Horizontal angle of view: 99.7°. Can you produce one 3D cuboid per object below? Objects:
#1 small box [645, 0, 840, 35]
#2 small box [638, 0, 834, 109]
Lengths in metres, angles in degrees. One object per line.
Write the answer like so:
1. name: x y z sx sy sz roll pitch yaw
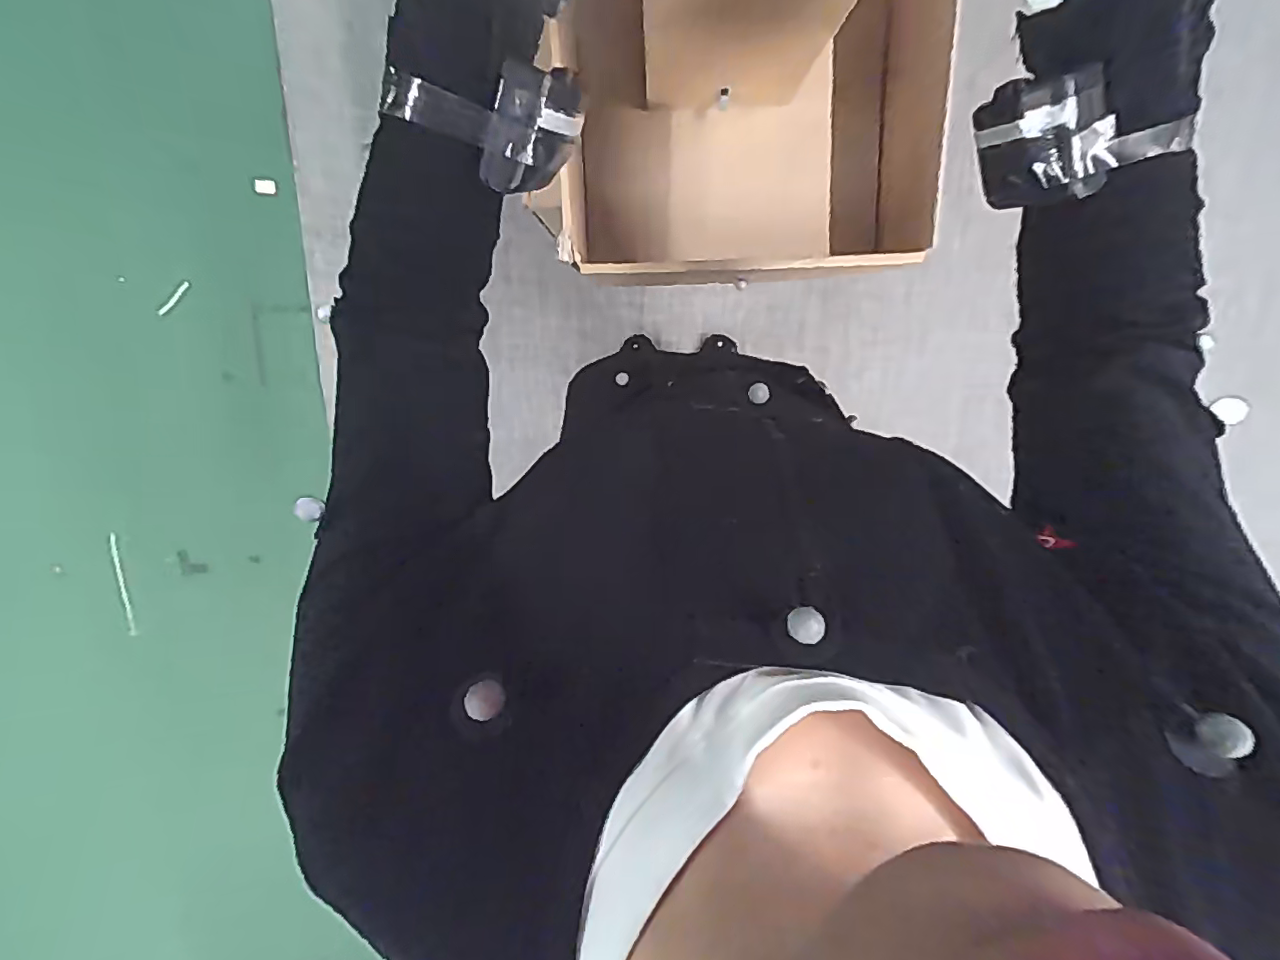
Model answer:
1. small box: 0.092 -0.471 0.400 0.179 0.176 0.168 0 103 -2
2. small box: 0.088 -0.512 0.559 0.179 0.176 0.168 -2 102 -1
